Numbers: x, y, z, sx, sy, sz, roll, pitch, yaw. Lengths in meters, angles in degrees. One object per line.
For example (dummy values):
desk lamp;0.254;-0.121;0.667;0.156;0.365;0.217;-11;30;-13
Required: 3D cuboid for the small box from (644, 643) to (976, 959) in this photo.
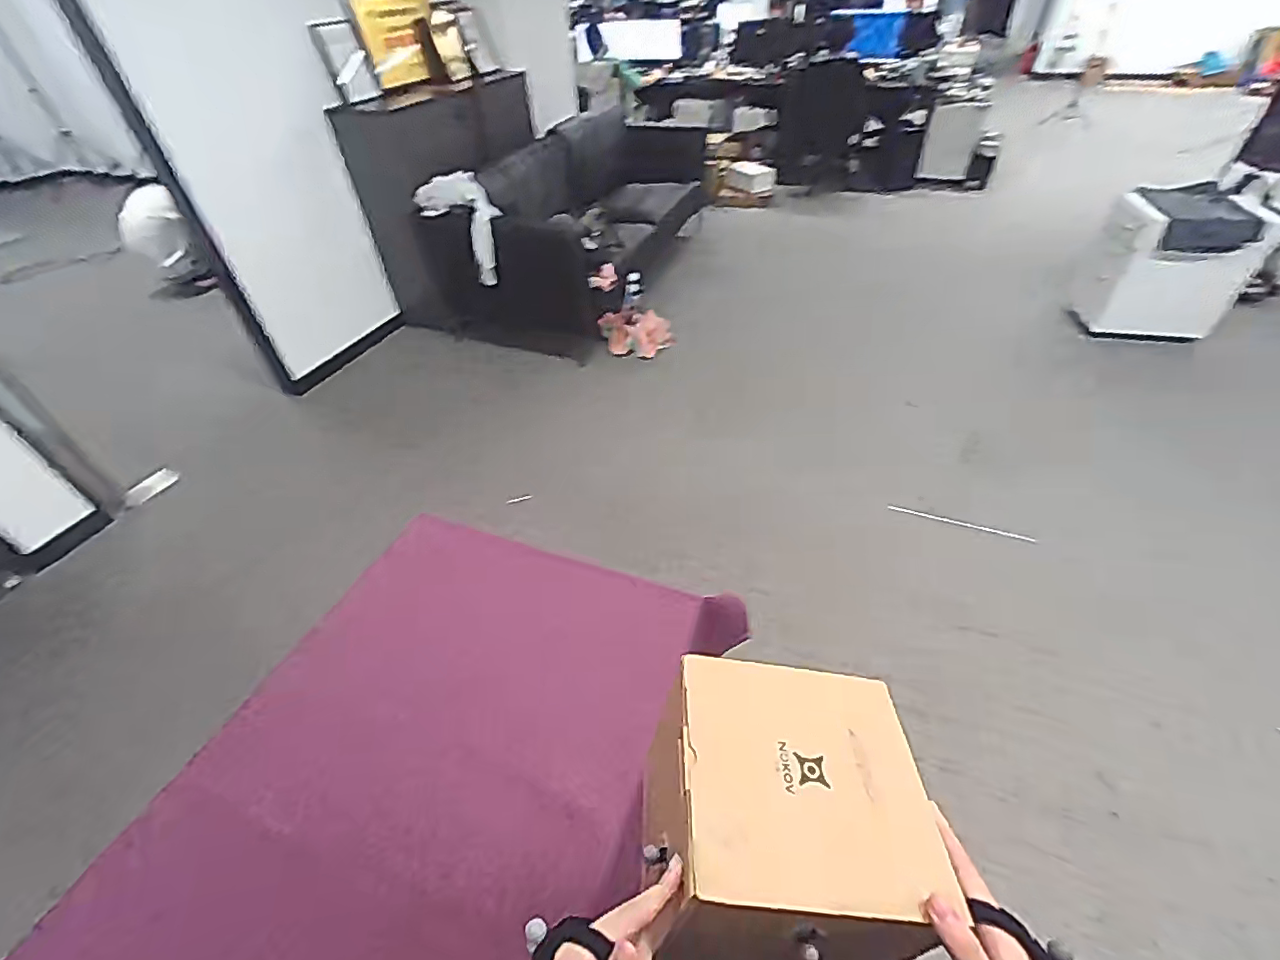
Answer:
small box;0.104;0.257;0.423;0.179;0.176;0.168;11;37;-5
